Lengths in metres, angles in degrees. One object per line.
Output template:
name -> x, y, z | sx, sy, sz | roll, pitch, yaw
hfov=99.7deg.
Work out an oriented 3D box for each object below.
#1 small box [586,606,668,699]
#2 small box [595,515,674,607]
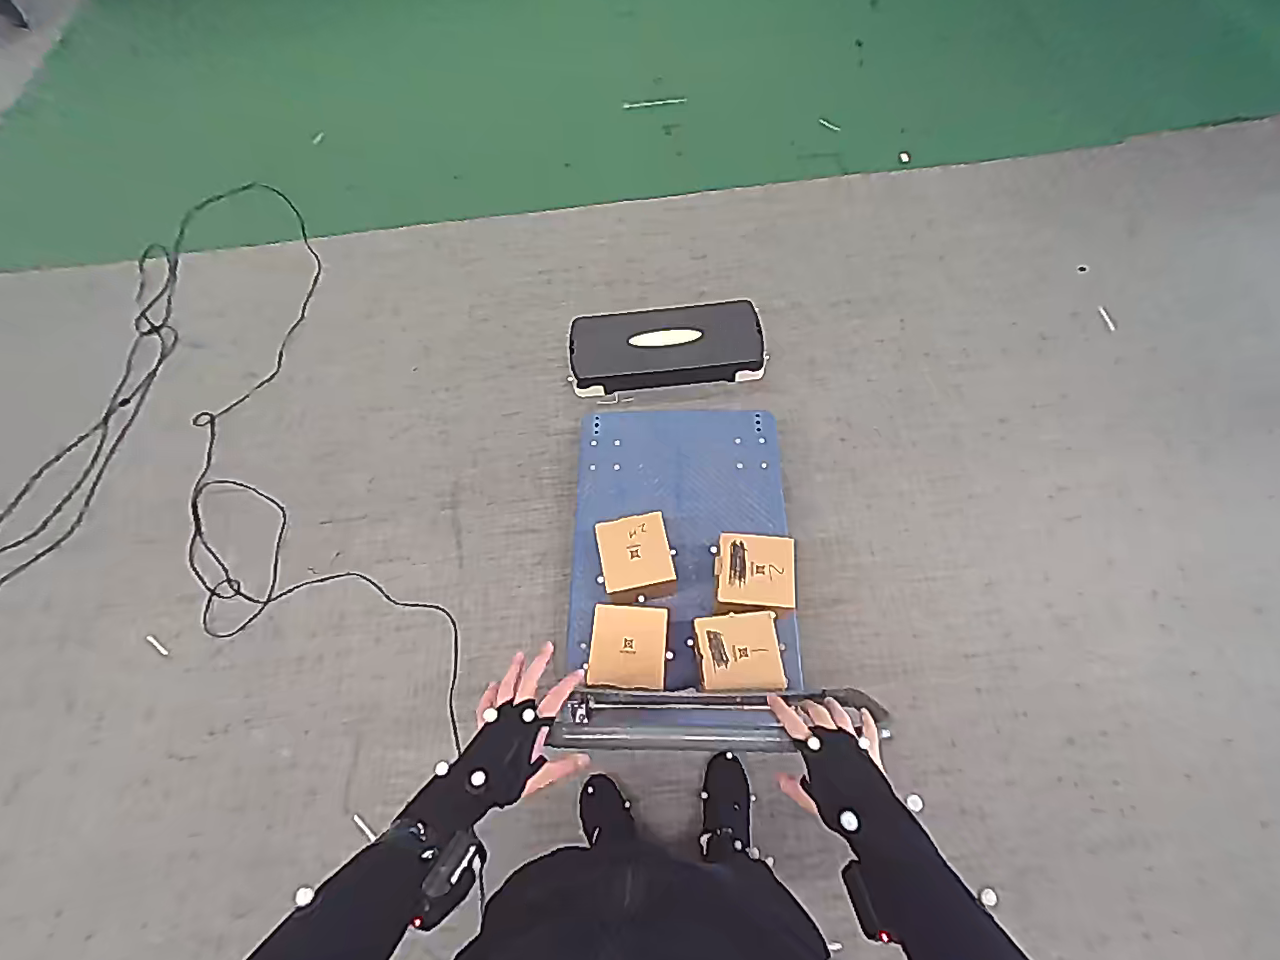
small box -> -0.025, 0.404, 1.253 | 0.168, 0.176, 0.179 | 4, 65, 4
small box -> -0.011, 0.209, 1.343 | 0.168, 0.176, 0.179 | -10, 65, -3
